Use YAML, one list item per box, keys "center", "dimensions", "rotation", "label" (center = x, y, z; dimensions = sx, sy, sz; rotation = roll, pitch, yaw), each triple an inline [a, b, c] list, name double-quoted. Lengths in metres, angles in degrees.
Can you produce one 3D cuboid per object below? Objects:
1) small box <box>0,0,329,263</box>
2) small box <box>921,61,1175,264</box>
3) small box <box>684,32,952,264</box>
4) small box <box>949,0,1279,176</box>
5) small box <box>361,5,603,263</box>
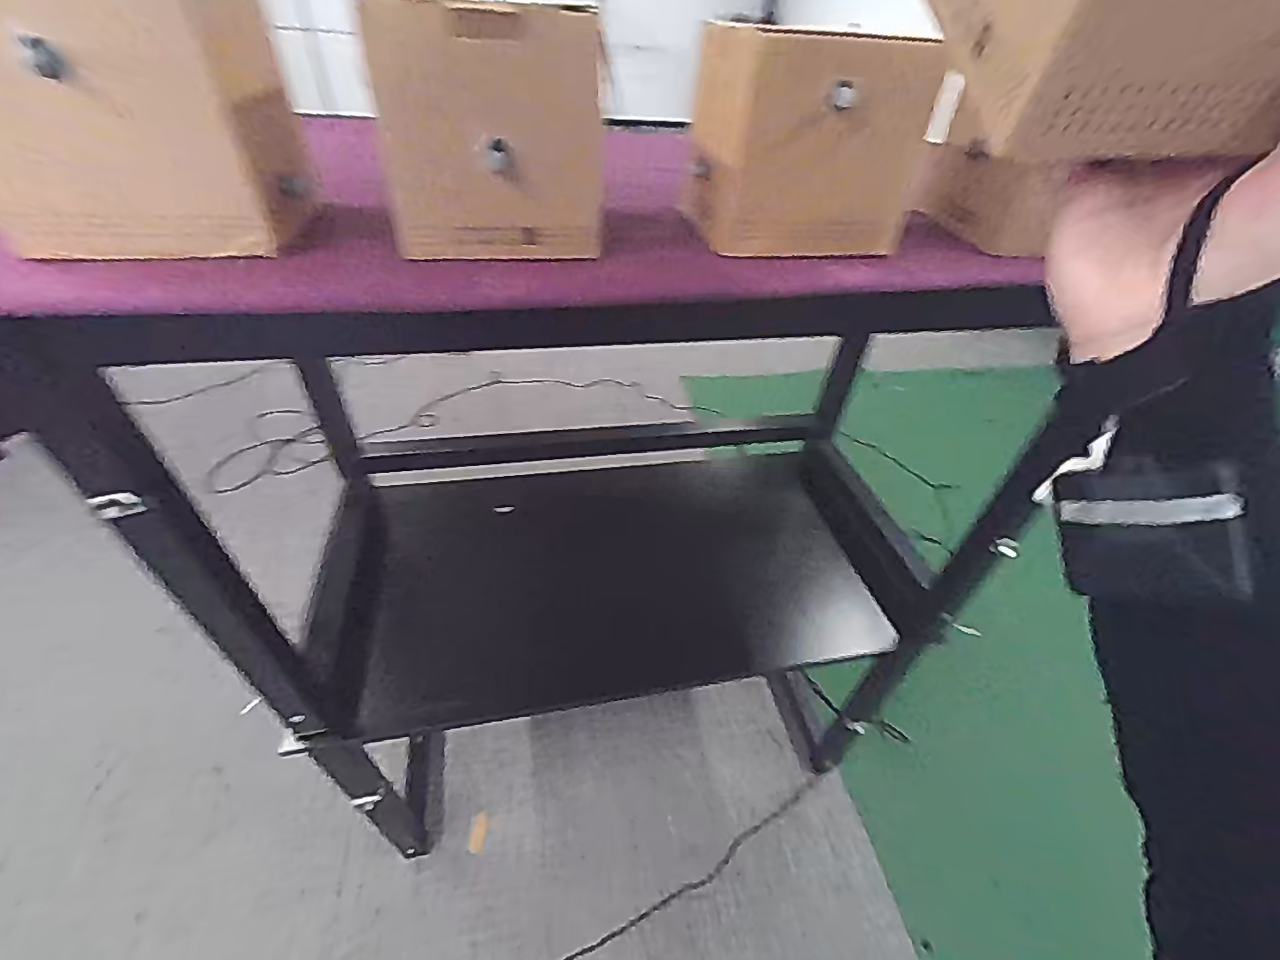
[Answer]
- center: [-0.379, -0.282, 0.429]
  dimensions: [0.179, 0.176, 0.168]
  rotation: [-5, 42, -12]
  label: "small box"
- center: [0.435, -0.345, 0.582]
  dimensions: [0.179, 0.176, 0.168]
  rotation: [-2, 43, -8]
  label: "small box"
- center: [0.152, -0.325, 0.534]
  dimensions: [0.179, 0.176, 0.168]
  rotation: [-5, 41, -10]
  label: "small box"
- center: [0.246, -0.240, 0.205]
  dimensions: [0.179, 0.176, 0.168]
  rotation: [1, 61, 4]
  label: "small box"
- center: [-0.124, -0.303, 0.480]
  dimensions: [0.168, 0.176, 0.179]
  rotation: [-5, 42, -11]
  label: "small box"
